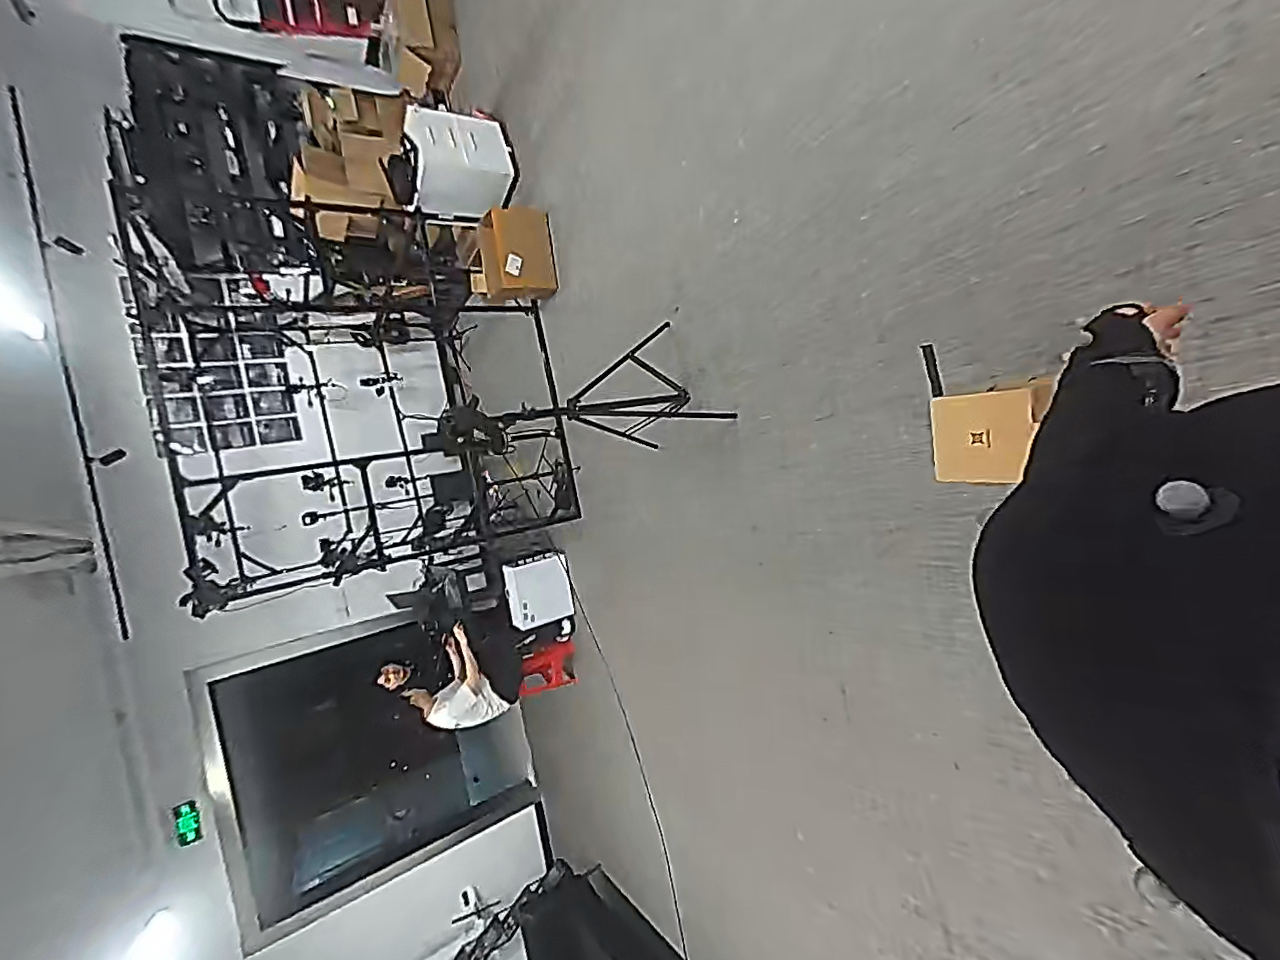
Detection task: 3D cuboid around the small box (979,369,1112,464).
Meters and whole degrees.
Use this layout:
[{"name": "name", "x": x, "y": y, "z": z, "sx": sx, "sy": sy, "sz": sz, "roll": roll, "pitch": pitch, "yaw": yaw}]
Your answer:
[{"name": "small box", "x": 0.823, "y": -0.127, "z": 1.096, "sx": 0.179, "sy": 0.176, "sz": 0.168, "roll": 3, "pitch": 102, "yaw": 58}]

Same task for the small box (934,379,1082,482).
[{"name": "small box", "x": 0.688, "y": -0.093, "z": 1.014, "sx": 0.179, "sy": 0.176, "sz": 0.168, "roll": 2, "pitch": 102, "yaw": 58}]
